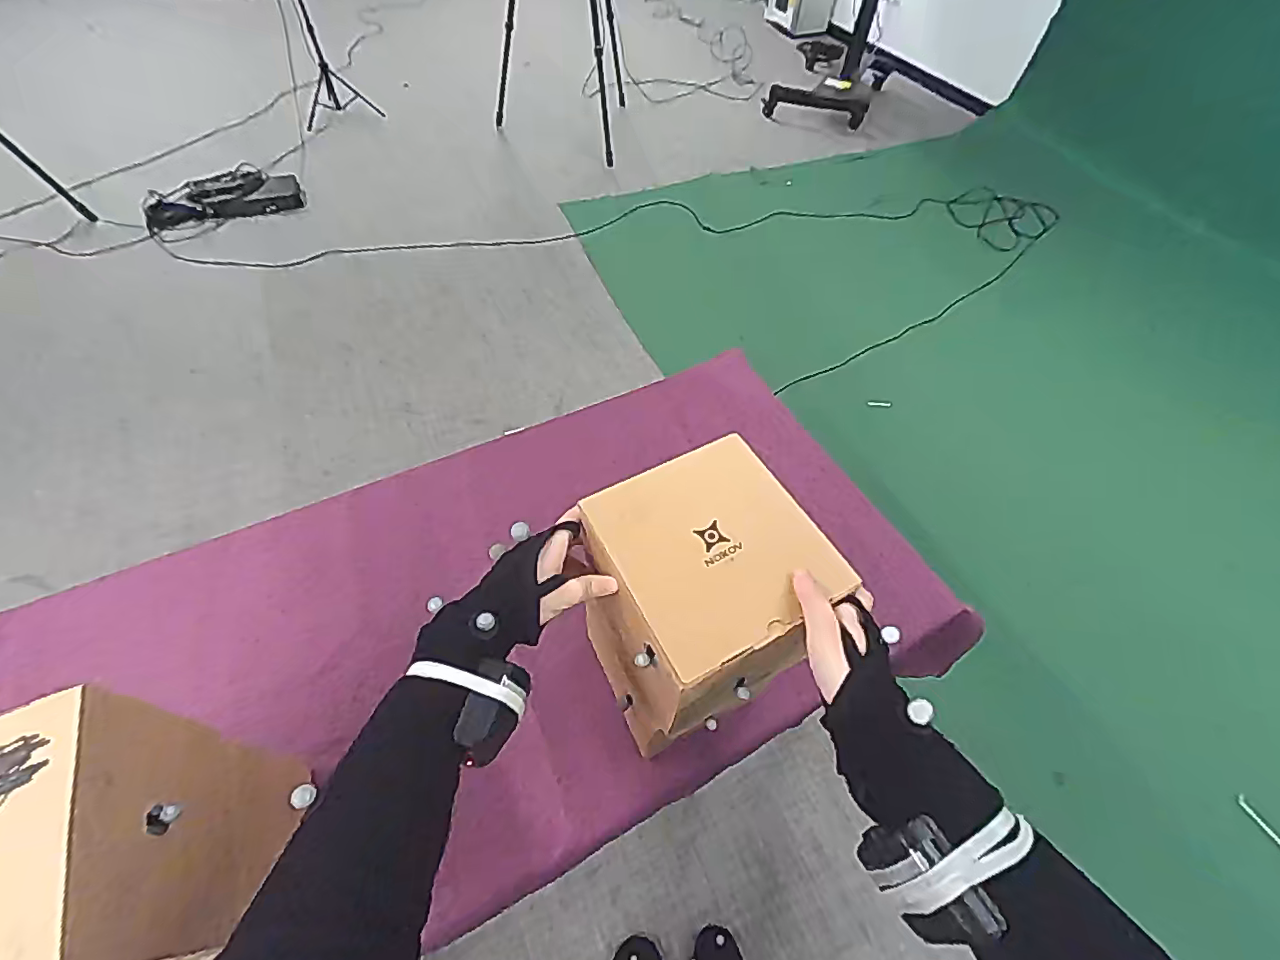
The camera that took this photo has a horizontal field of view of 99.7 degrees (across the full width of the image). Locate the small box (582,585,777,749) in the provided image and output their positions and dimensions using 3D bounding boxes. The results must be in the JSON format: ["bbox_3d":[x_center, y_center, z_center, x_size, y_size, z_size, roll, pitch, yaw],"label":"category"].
[{"bbox_3d":[0.040,0.205,0.660,0.168,0.176,0.179,-20,58,-17],"label":"small box"}]

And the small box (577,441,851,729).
[{"bbox_3d":[0.052,0.100,0.505,0.168,0.176,0.179,-24,59,-18],"label":"small box"}]
